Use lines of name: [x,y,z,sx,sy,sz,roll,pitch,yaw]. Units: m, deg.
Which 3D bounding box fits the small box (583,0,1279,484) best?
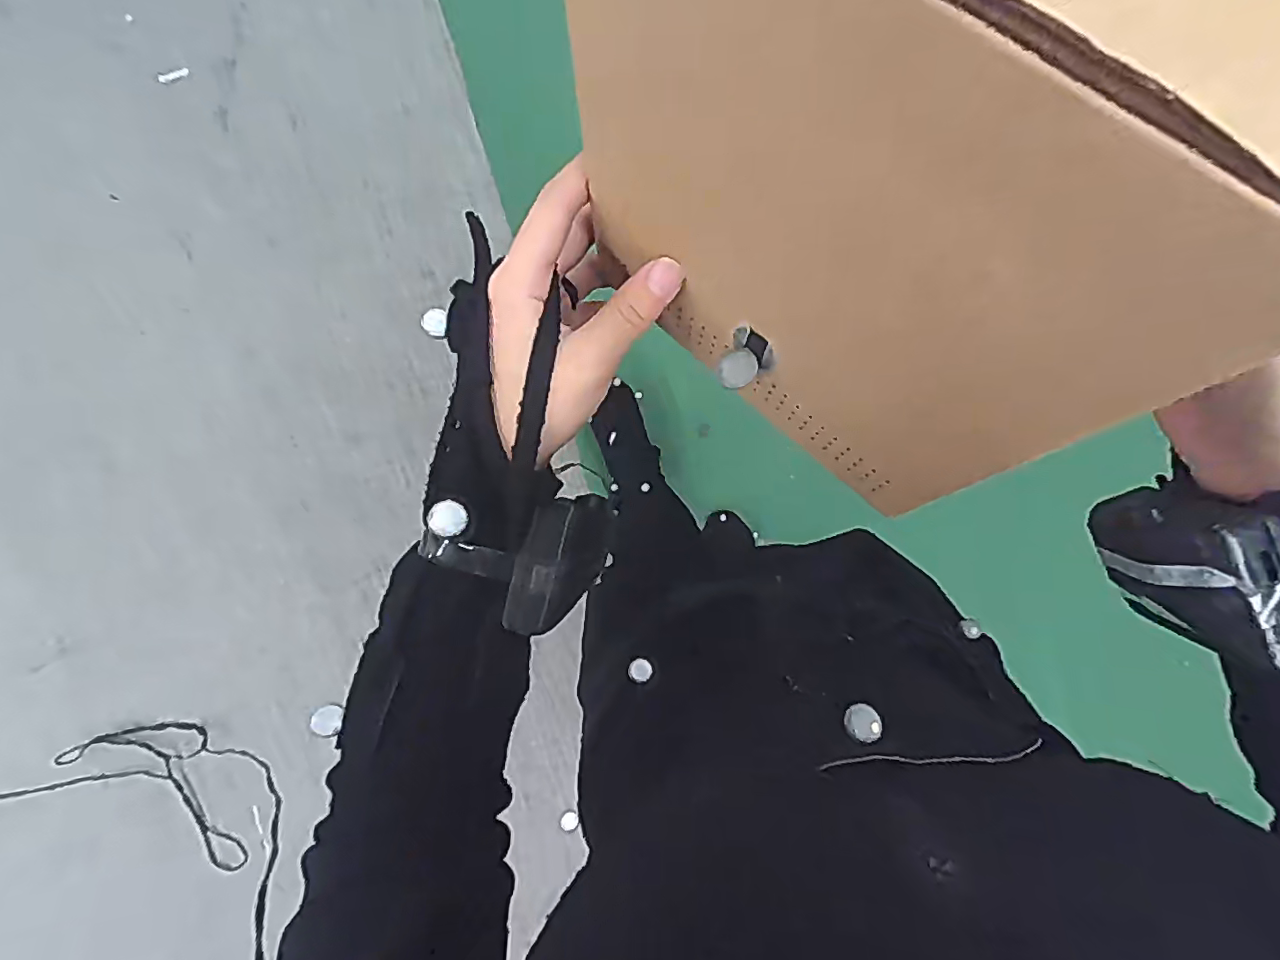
small box: [0.103,-0.116,0.185,0.168,0.176,0.179,-44,78,-9]
